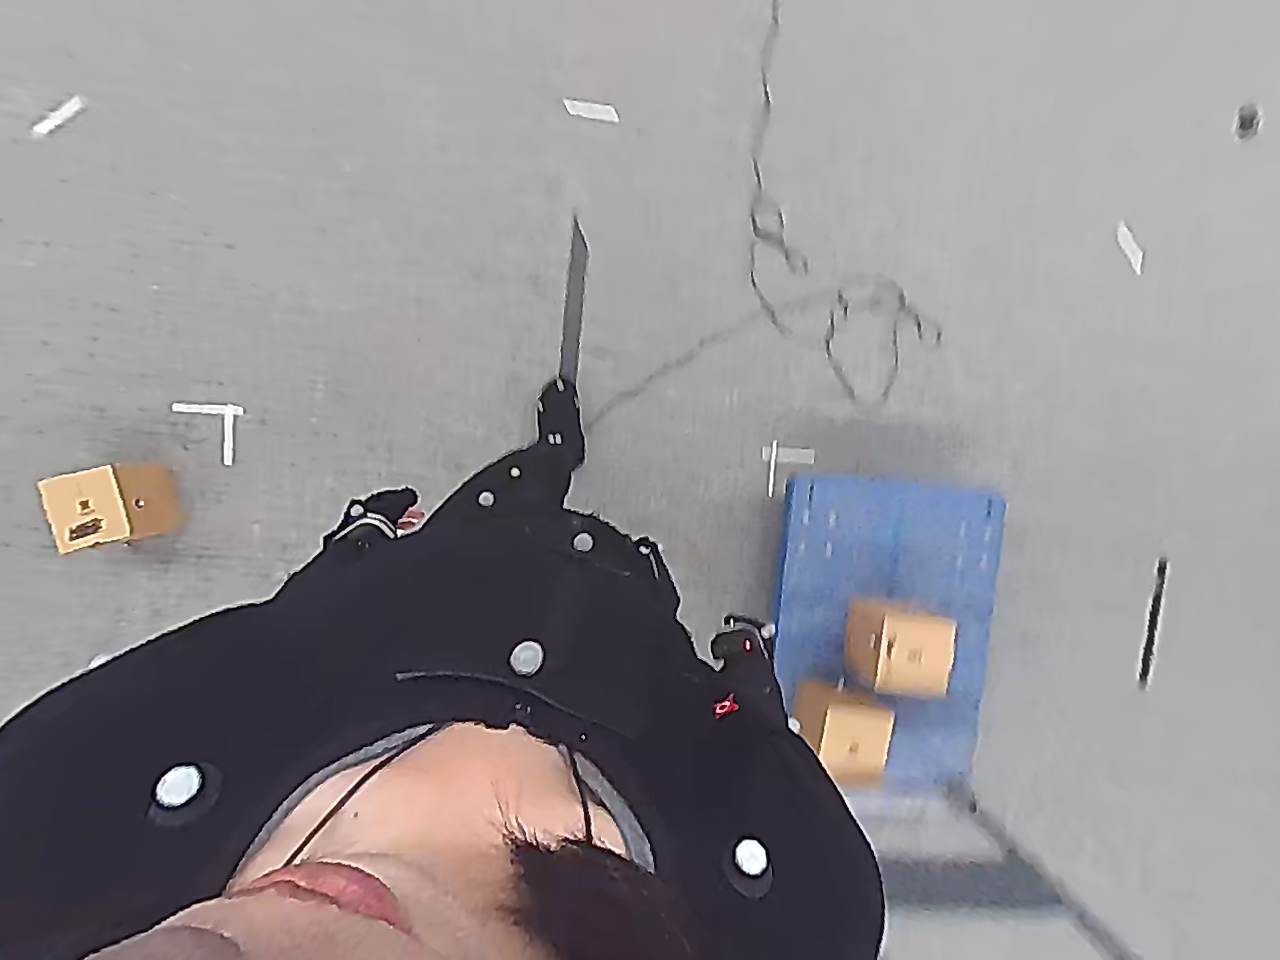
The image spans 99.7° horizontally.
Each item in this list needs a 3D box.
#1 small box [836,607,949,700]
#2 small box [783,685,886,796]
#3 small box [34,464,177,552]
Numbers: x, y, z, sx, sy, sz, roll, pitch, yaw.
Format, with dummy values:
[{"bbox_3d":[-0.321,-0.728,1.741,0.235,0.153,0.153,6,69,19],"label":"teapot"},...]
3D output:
[{"bbox_3d":[0.608,0.416,1.317,0.179,0.176,0.168,8,91,-7],"label":"small box"},{"bbox_3d":[0.462,0.627,1.314,0.168,0.176,0.179,10,90,-8],"label":"small box"},{"bbox_3d":[-1.288,0.062,1.319,0.168,0.176,0.179,-13,93,-5],"label":"small box"}]
